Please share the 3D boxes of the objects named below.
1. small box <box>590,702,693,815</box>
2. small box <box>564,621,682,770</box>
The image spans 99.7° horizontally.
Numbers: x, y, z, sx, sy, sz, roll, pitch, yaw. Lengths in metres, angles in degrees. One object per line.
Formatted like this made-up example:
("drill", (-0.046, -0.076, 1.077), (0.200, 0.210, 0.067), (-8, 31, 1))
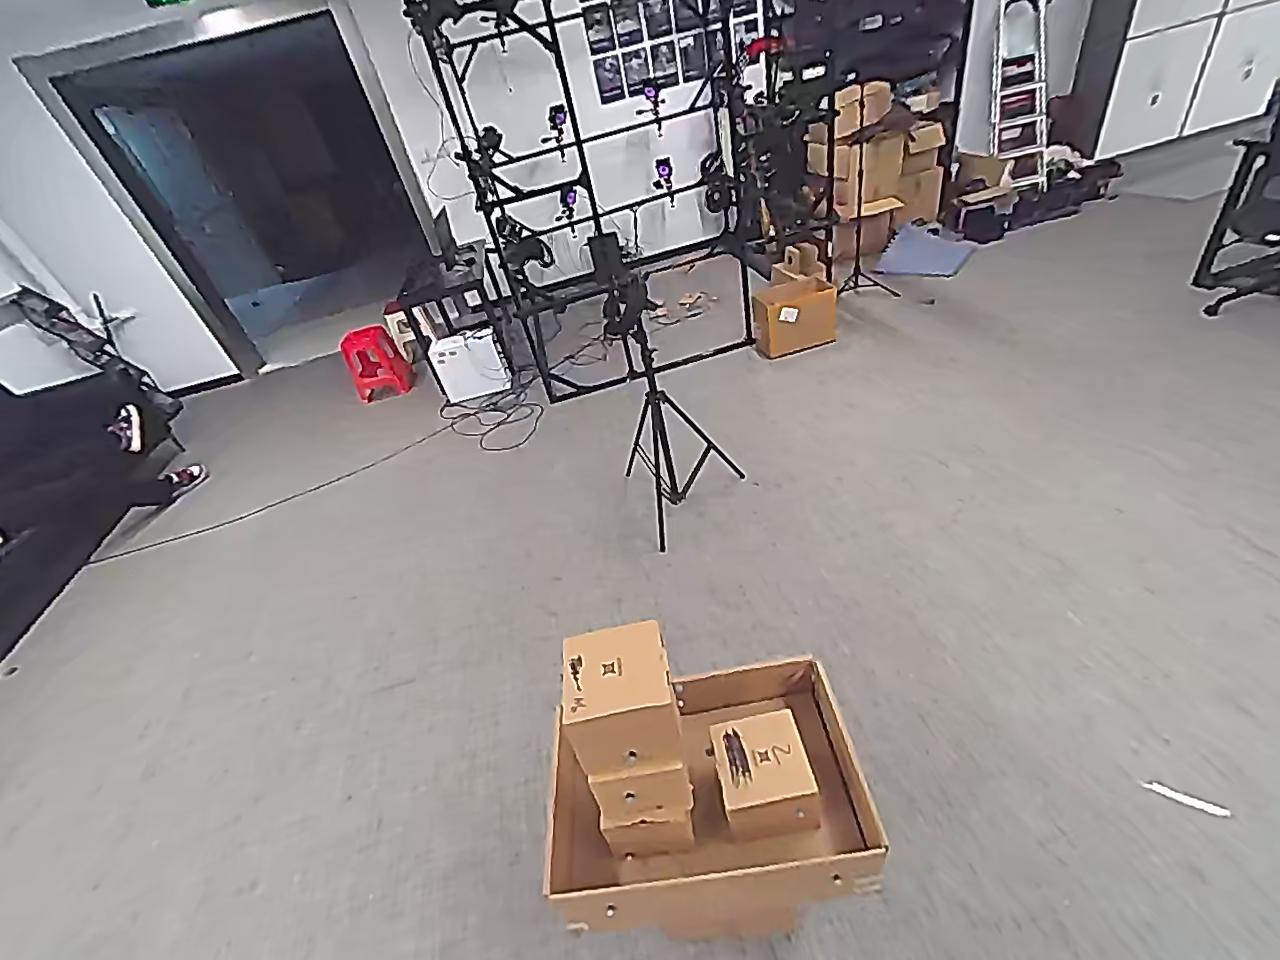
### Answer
("small box", (0.003, 0.511, 1.029), (0.168, 0.176, 0.179), (-10, 36, 2))
("small box", (-0.026, 0.375, 0.941), (0.179, 0.176, 0.168), (-11, 35, 1))
